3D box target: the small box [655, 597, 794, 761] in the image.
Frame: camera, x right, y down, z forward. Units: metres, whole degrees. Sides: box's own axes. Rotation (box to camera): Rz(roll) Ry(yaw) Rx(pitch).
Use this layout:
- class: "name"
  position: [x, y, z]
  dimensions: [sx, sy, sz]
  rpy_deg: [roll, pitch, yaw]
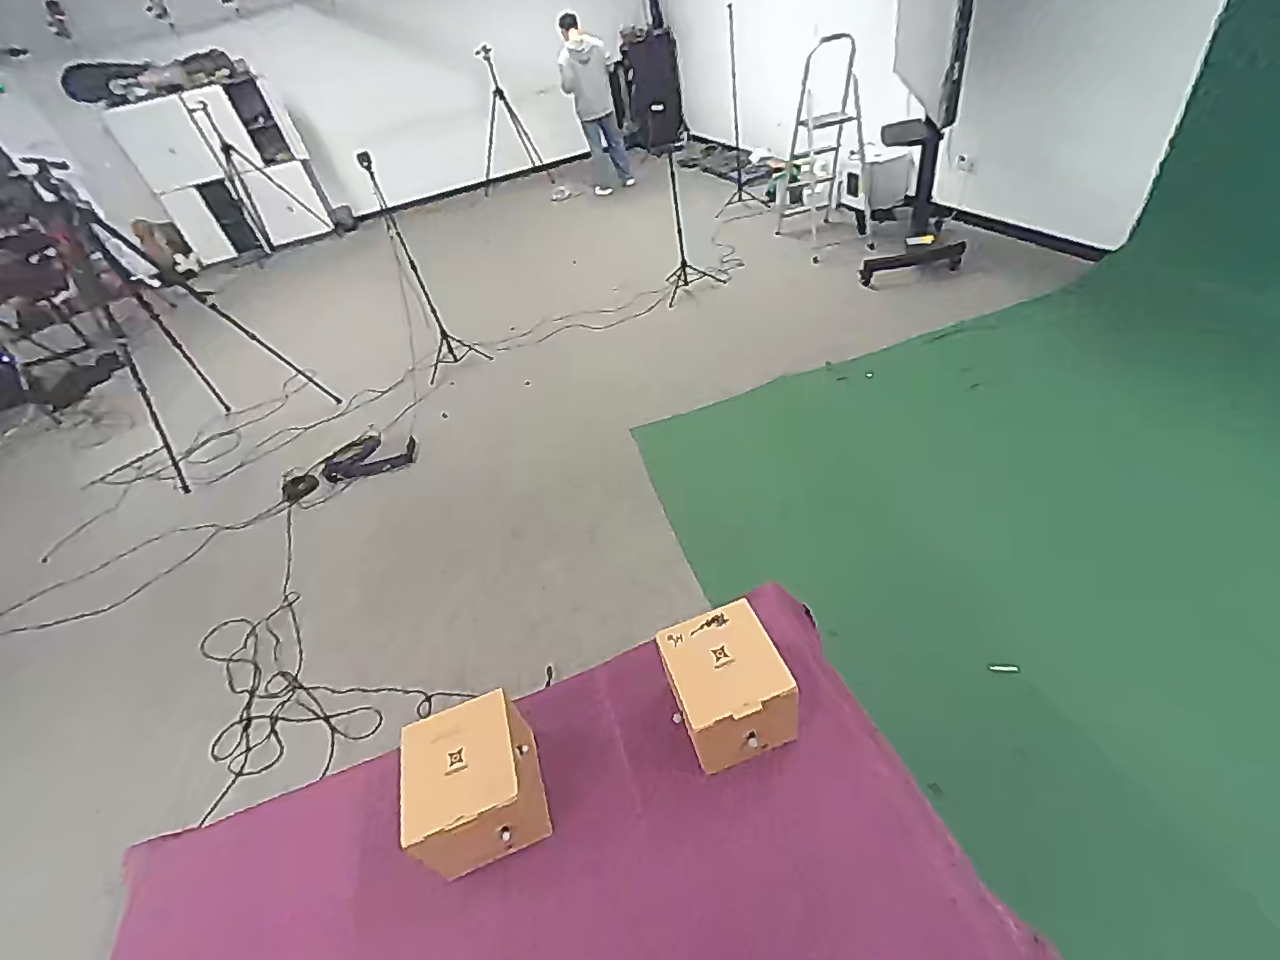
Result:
- class: "small box"
  position: [0.140, 0.330, 0.883]
  dimensions: [0.168, 0.176, 0.179]
  rpy_deg: [-20, 42, -6]

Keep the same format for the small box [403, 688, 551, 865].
- class: "small box"
  position: [-0.251, 0.468, 0.845]
  dimensions: [0.168, 0.176, 0.179]
  rpy_deg: [-20, 41, -7]
